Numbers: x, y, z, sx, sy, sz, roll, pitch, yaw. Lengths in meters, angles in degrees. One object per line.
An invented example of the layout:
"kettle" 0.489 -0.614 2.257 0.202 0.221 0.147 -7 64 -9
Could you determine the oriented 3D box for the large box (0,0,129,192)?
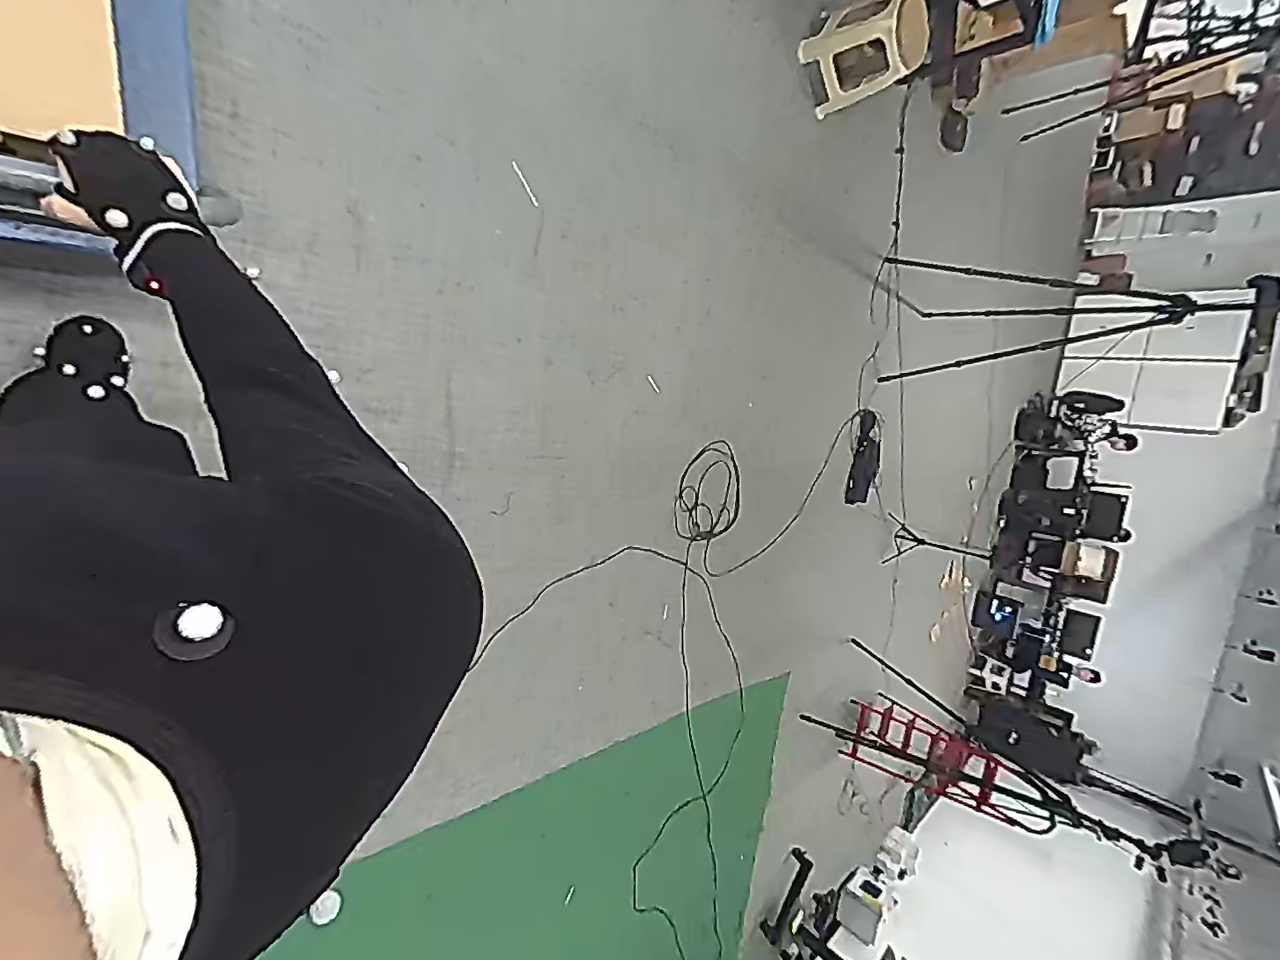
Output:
"large box" -0.958 -0.682 0.759 0.320 0.320 0.408 -8 105 -44
